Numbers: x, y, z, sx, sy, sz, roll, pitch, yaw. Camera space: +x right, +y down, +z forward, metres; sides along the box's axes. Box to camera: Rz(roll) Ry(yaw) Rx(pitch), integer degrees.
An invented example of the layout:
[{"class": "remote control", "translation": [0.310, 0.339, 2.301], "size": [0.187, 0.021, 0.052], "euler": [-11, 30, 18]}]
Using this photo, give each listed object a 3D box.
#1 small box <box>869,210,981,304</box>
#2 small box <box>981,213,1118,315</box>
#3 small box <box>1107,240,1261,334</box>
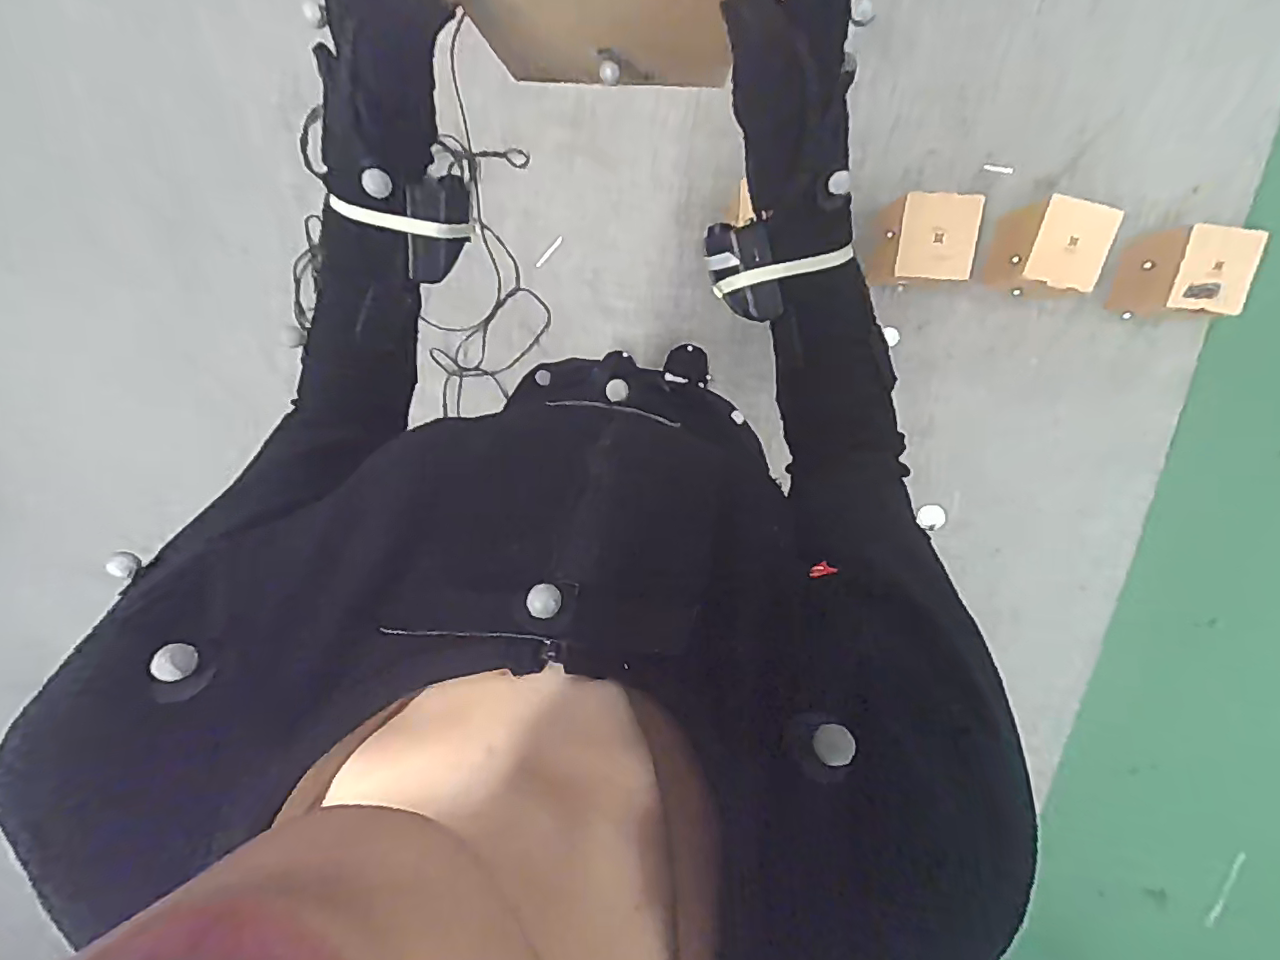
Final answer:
[{"class": "small box", "translation": [0.656, -0.515, 1.266], "size": [0.168, 0.176, 0.179], "euler": [4, 104, 3]}, {"class": "small box", "translation": [0.941, -0.495, 1.263], "size": [0.168, 0.176, 0.179], "euler": [12, 103, -1]}, {"class": "small box", "translation": [1.255, -0.442, 1.266], "size": [0.168, 0.176, 0.179], "euler": [8, 102, 0]}]
